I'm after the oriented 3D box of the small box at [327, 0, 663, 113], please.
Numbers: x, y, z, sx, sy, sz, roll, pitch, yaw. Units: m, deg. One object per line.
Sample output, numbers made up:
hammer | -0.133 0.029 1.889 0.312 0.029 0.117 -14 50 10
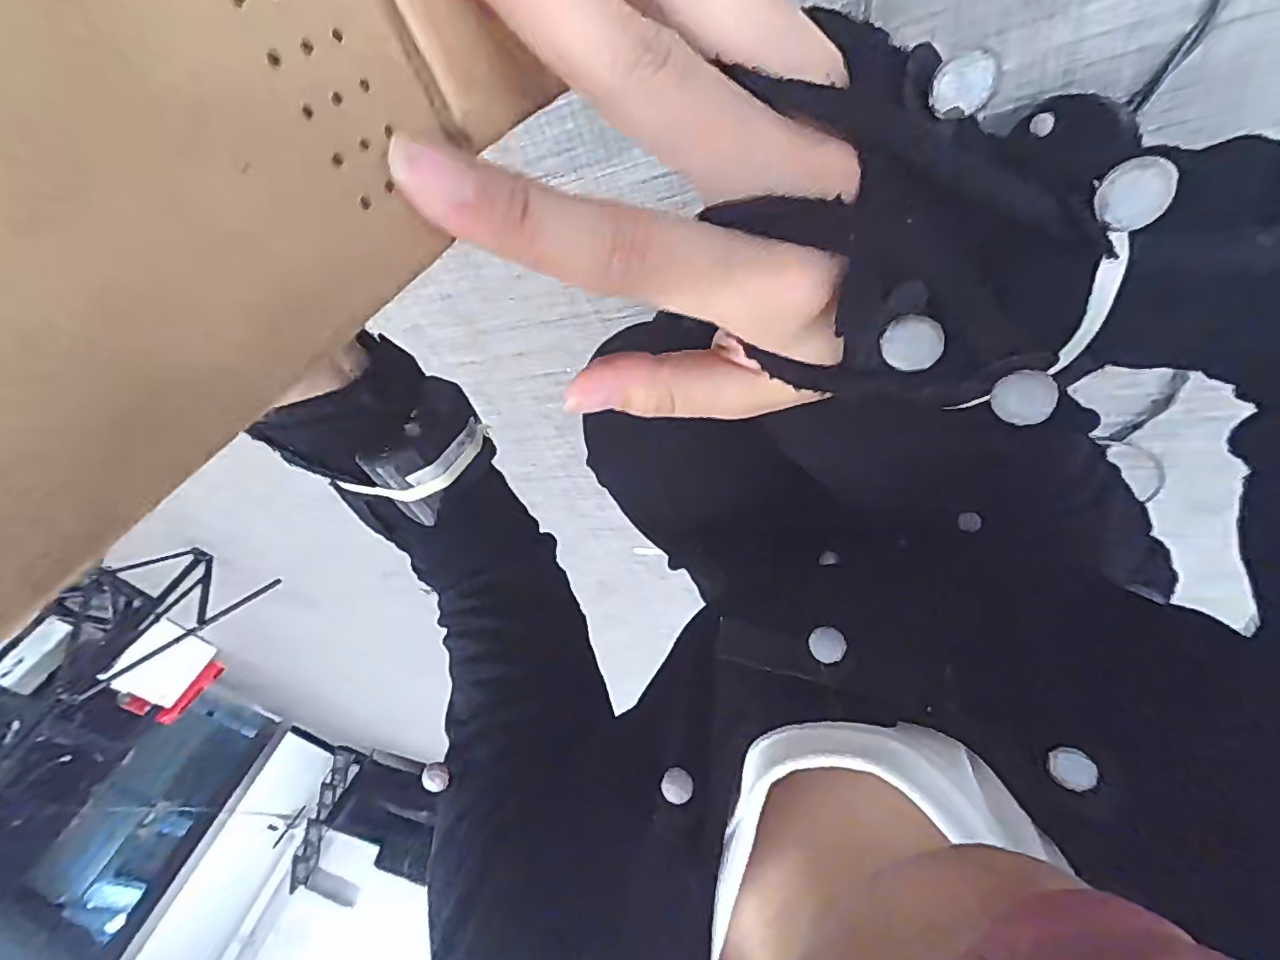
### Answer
small box | -0.050 -0.295 0.230 0.179 0.176 0.168 -2 136 26
